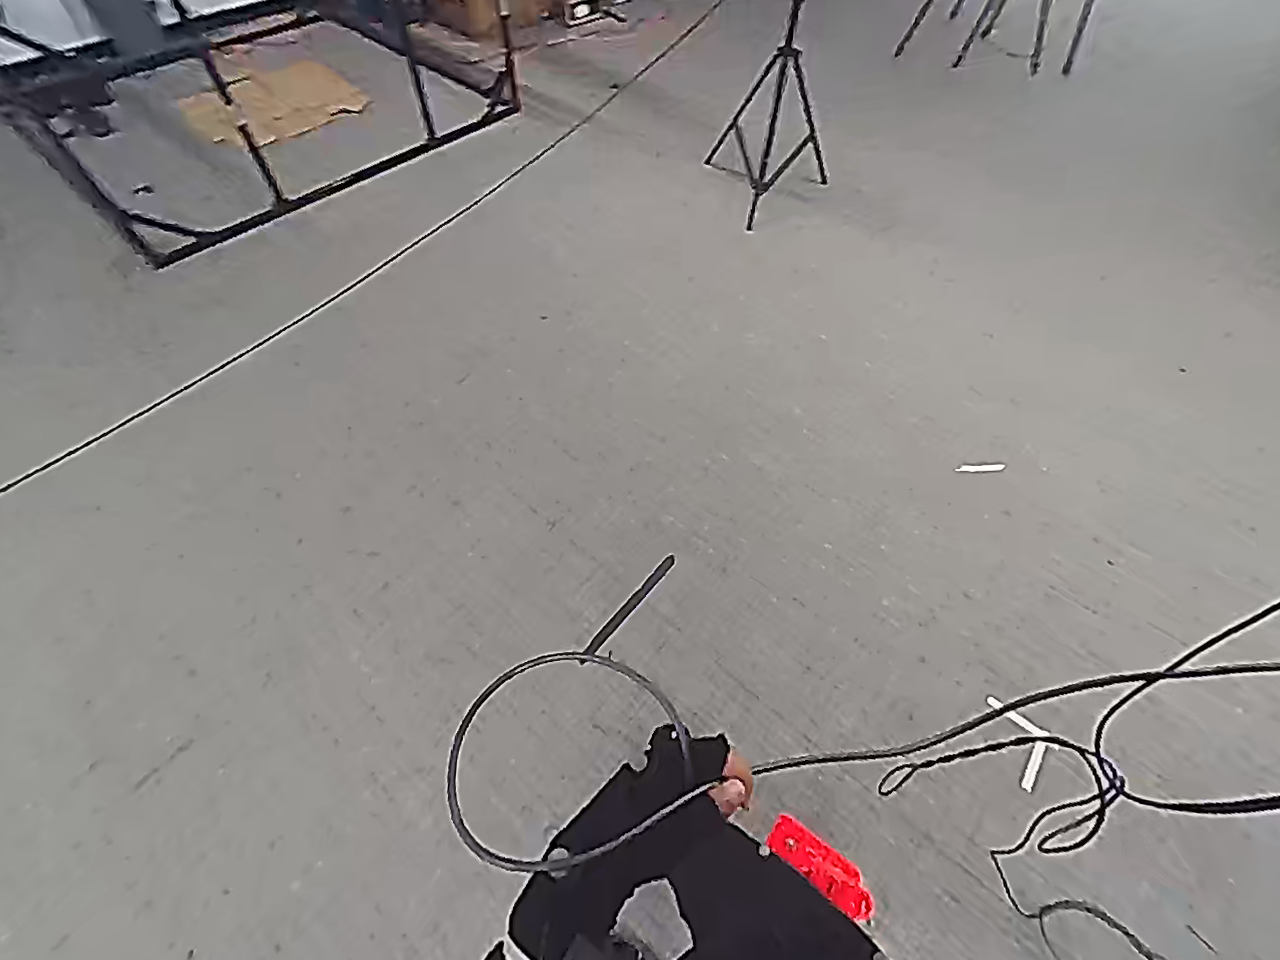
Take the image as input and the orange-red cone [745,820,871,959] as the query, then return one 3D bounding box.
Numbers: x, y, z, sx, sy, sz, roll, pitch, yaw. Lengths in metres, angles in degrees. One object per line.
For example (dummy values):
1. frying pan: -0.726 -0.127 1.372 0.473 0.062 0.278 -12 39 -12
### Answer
1. orange-red cone: 0.343 0.764 0.986 0.198 0.360 0.199 32 63 20
